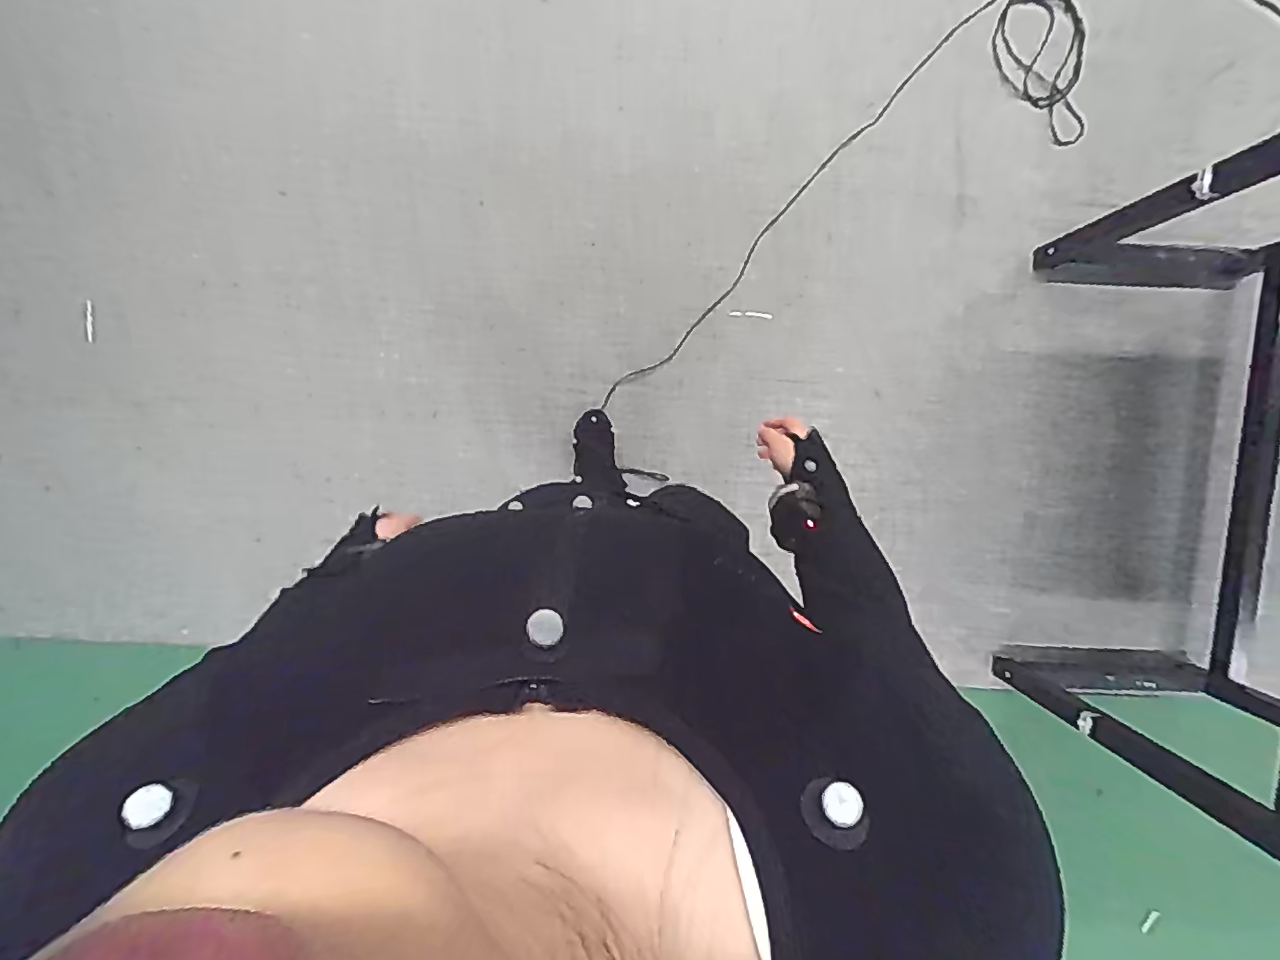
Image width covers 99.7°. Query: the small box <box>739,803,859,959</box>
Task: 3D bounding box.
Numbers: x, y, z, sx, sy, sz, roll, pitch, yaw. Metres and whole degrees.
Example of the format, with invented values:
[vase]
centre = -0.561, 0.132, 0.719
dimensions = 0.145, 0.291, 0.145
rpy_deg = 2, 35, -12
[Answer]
[small box]
centre = 0.321, 0.823, 1.123
dimensions = 0.168, 0.176, 0.179
rpy_deg = -22, 94, 1
